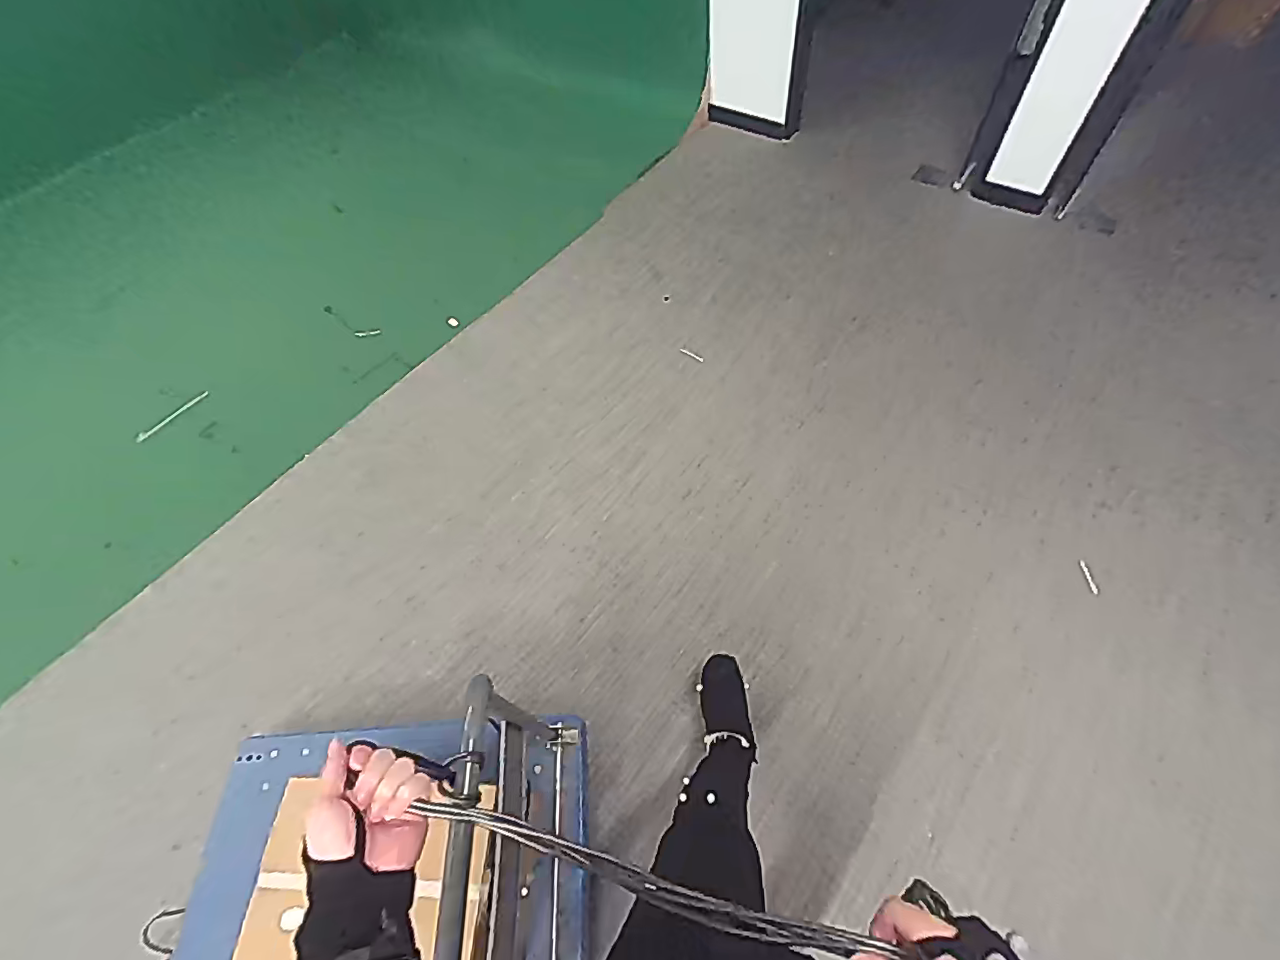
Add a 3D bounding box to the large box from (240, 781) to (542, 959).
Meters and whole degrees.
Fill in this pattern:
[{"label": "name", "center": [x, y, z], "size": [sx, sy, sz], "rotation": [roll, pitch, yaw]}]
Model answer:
[{"label": "large box", "center": [-0.428, 0.756, 1.027], "size": [0.408, 0.320, 0.320], "rotation": [-2, 59, 7]}]
